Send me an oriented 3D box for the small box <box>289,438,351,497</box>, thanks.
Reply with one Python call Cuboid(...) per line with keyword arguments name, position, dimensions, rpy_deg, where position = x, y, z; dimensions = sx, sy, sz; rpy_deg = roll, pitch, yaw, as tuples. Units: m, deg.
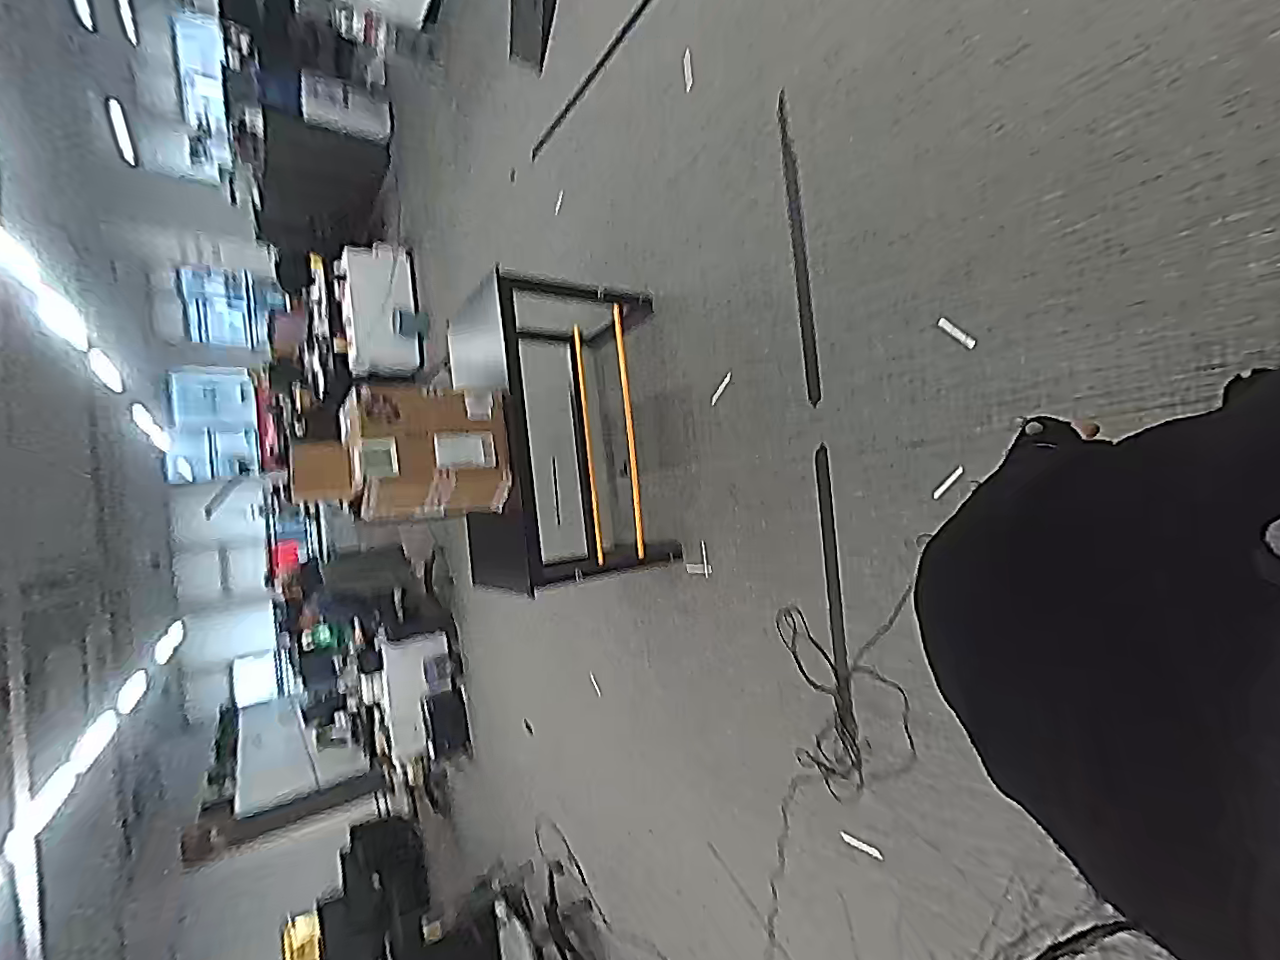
Cuboid(name="small box", position=(-1.103, -0.044, 1.862), dimensions=(0.168, 0.176, 0.179), rpy_deg=(-15, 81, 55))
